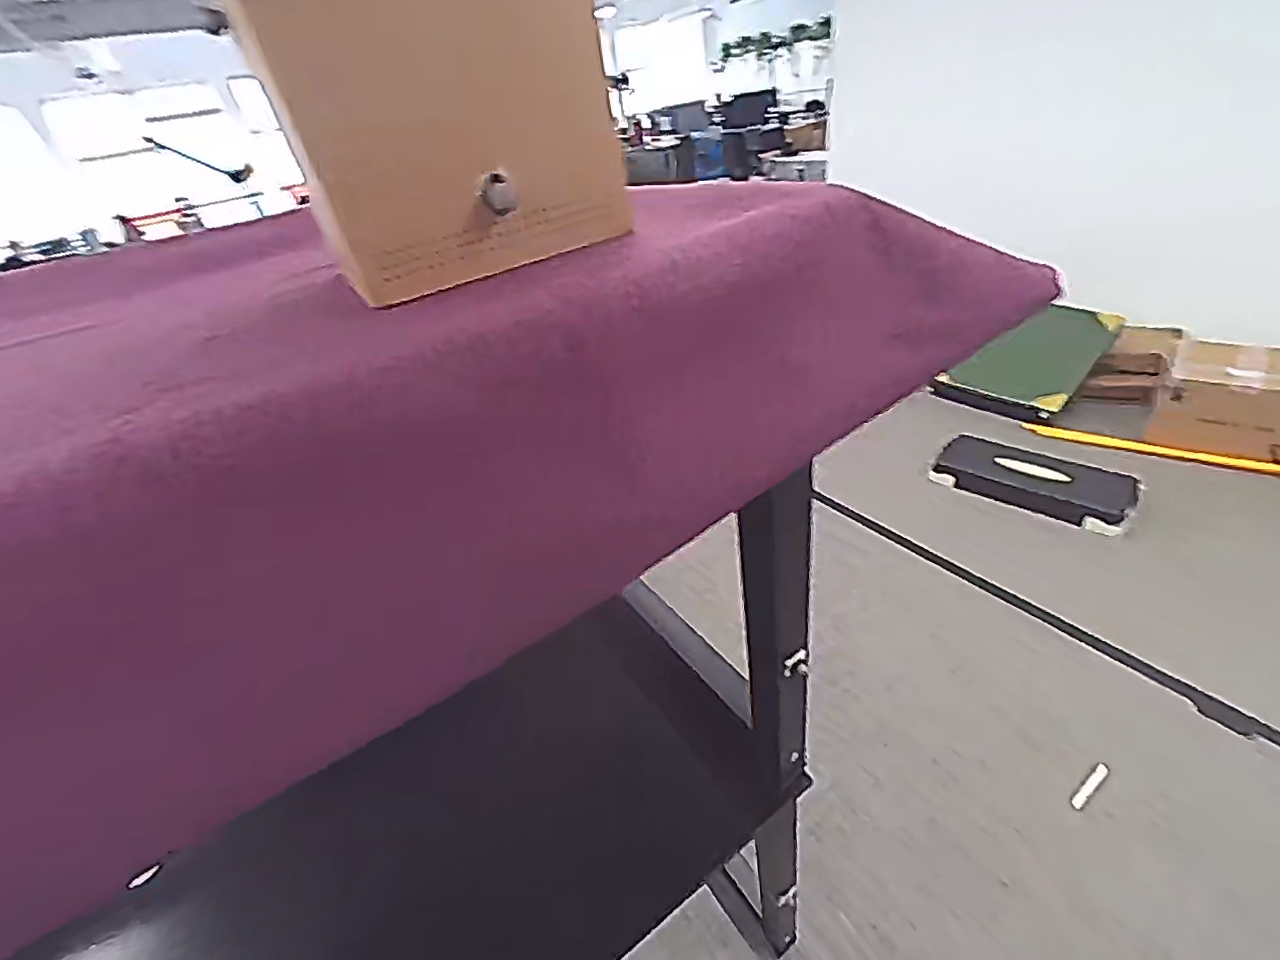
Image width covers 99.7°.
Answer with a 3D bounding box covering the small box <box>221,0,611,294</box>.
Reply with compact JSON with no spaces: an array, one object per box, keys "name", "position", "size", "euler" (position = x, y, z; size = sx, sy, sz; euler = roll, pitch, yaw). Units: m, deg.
[{"name":"small box","position":[-0.132,-0.235,0.342],"size":[0.179,0.176,0.168],"euler":[-27,37,-21]}]
